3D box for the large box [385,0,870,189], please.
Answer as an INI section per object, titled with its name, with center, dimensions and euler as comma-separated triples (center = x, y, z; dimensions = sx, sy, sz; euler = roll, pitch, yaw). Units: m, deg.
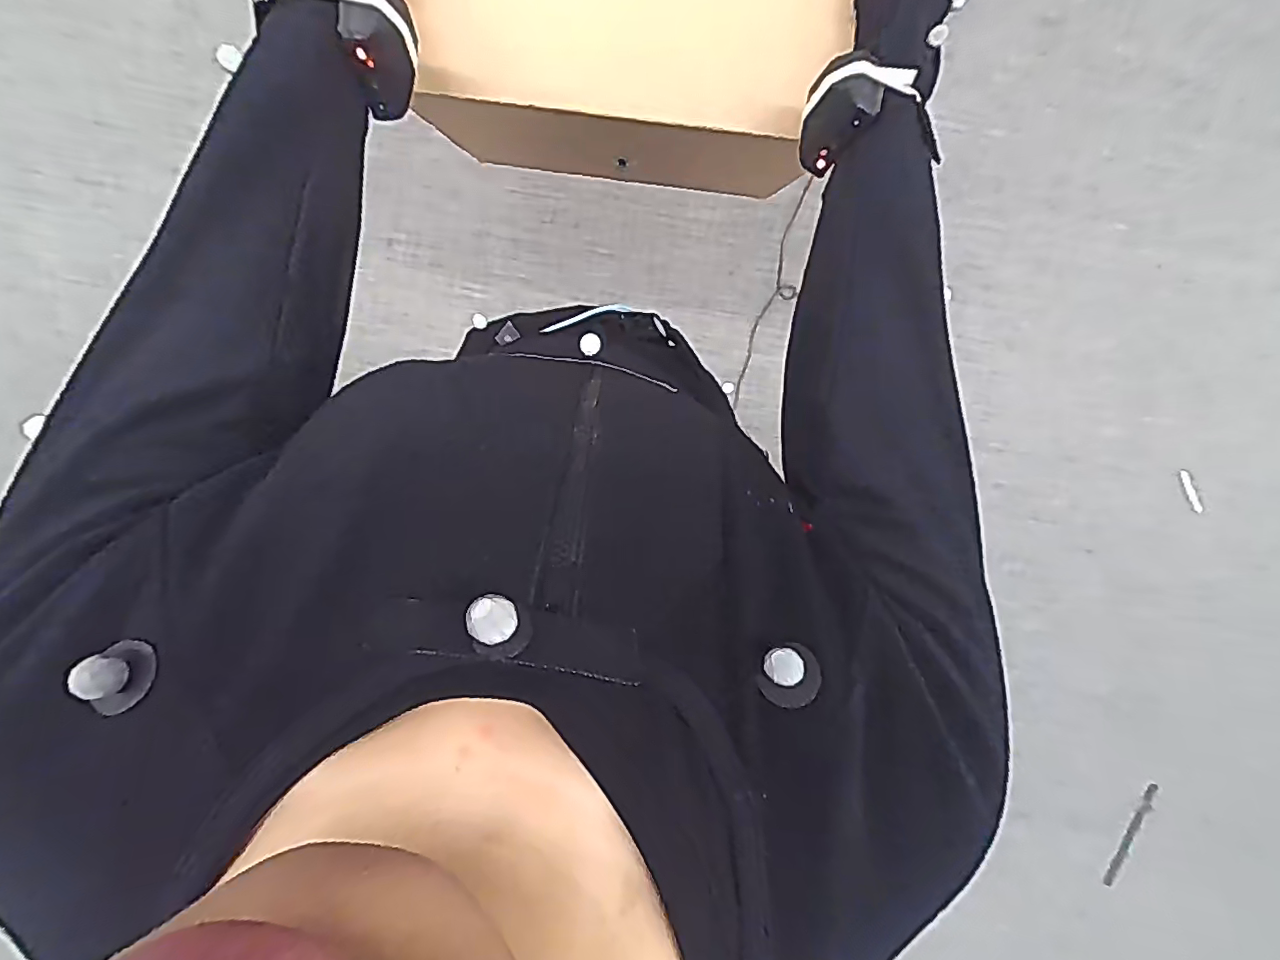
[large box]
center = -0.002, -0.509, 0.557
dimensions = 0.408, 0.320, 0.320
euler = 6, 109, -2
